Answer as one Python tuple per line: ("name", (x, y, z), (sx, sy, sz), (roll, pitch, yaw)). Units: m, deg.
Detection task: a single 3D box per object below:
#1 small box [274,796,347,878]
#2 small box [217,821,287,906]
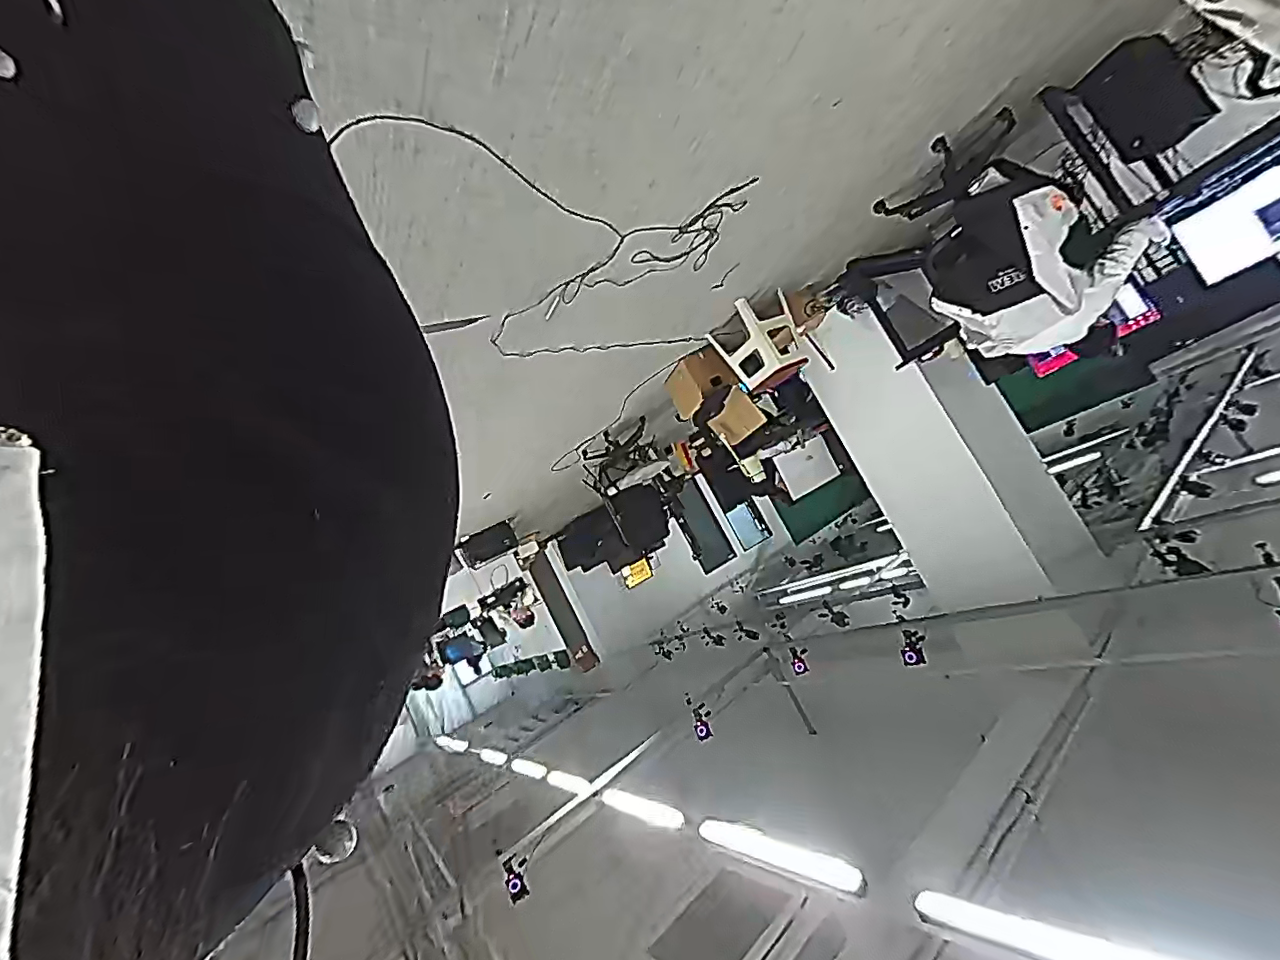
("small box", (-1.153, 1.241, 1.898), (0.168, 0.176, 0.179), (-24, 170, -30))
("small box", (-1.399, 1.380, 1.965), (0.168, 0.176, 0.179), (-24, 174, -31))
